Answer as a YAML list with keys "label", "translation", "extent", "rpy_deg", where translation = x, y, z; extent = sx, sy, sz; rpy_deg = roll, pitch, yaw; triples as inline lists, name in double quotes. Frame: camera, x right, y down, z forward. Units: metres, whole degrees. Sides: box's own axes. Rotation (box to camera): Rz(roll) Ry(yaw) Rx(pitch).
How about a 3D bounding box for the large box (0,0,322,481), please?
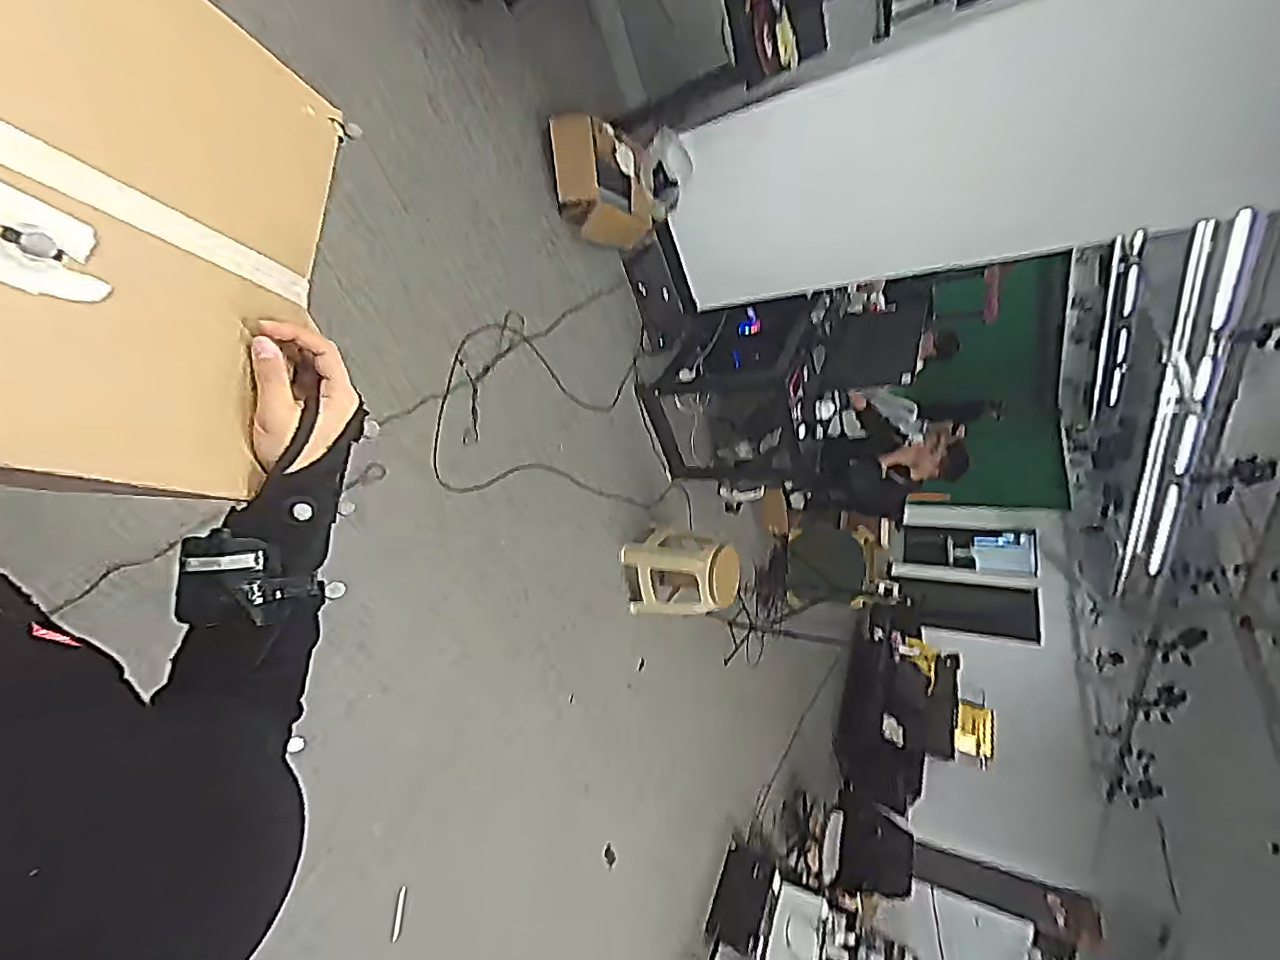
- label: "large box"
  translation: [-0.481, -0.181, 0.294]
  extent: [0.408, 0.320, 0.320]
  rpy_deg: [22, 72, -63]
